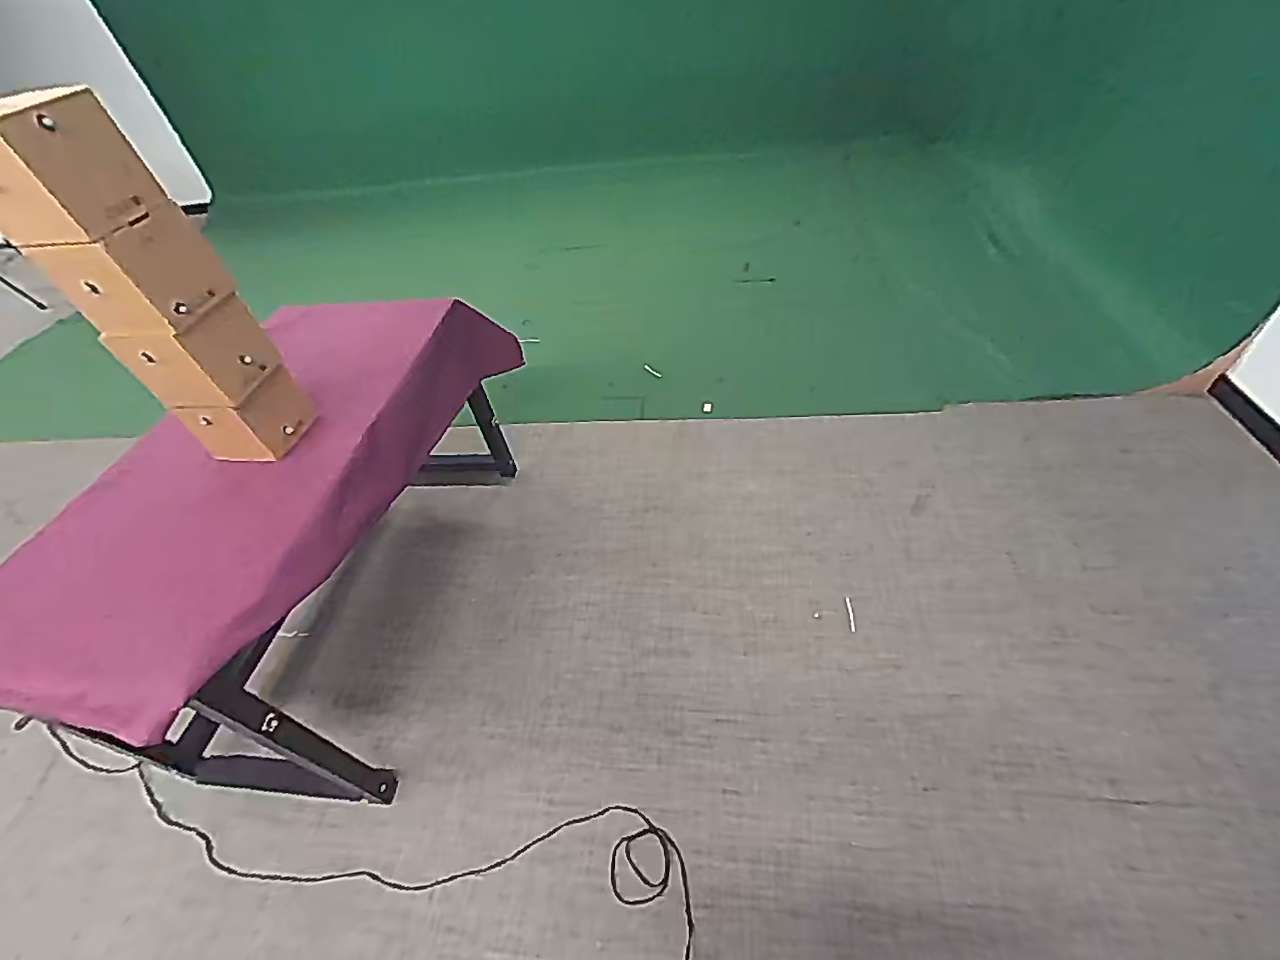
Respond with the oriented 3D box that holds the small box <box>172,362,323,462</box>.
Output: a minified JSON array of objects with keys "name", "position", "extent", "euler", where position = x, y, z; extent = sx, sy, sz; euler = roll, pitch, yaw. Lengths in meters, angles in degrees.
[{"name":"small box","position":[-0.873,-0.156,1.221],"extent":[0.179,0.176,0.168],"euler":[3,49,12]}]

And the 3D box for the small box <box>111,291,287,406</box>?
[{"name":"small box","position":[-0.878,-0.263,1.096],"extent":[0.179,0.176,0.168],"euler":[2,49,11]}]

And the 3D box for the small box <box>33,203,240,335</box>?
[{"name":"small box","position":[-0.889,-0.376,0.977],"extent":[0.179,0.176,0.168],"euler":[2,48,13]}]

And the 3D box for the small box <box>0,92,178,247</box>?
[{"name":"small box","position":[-0.914,-0.486,0.859],"extent":[0.179,0.176,0.168],"euler":[3,49,13]}]
